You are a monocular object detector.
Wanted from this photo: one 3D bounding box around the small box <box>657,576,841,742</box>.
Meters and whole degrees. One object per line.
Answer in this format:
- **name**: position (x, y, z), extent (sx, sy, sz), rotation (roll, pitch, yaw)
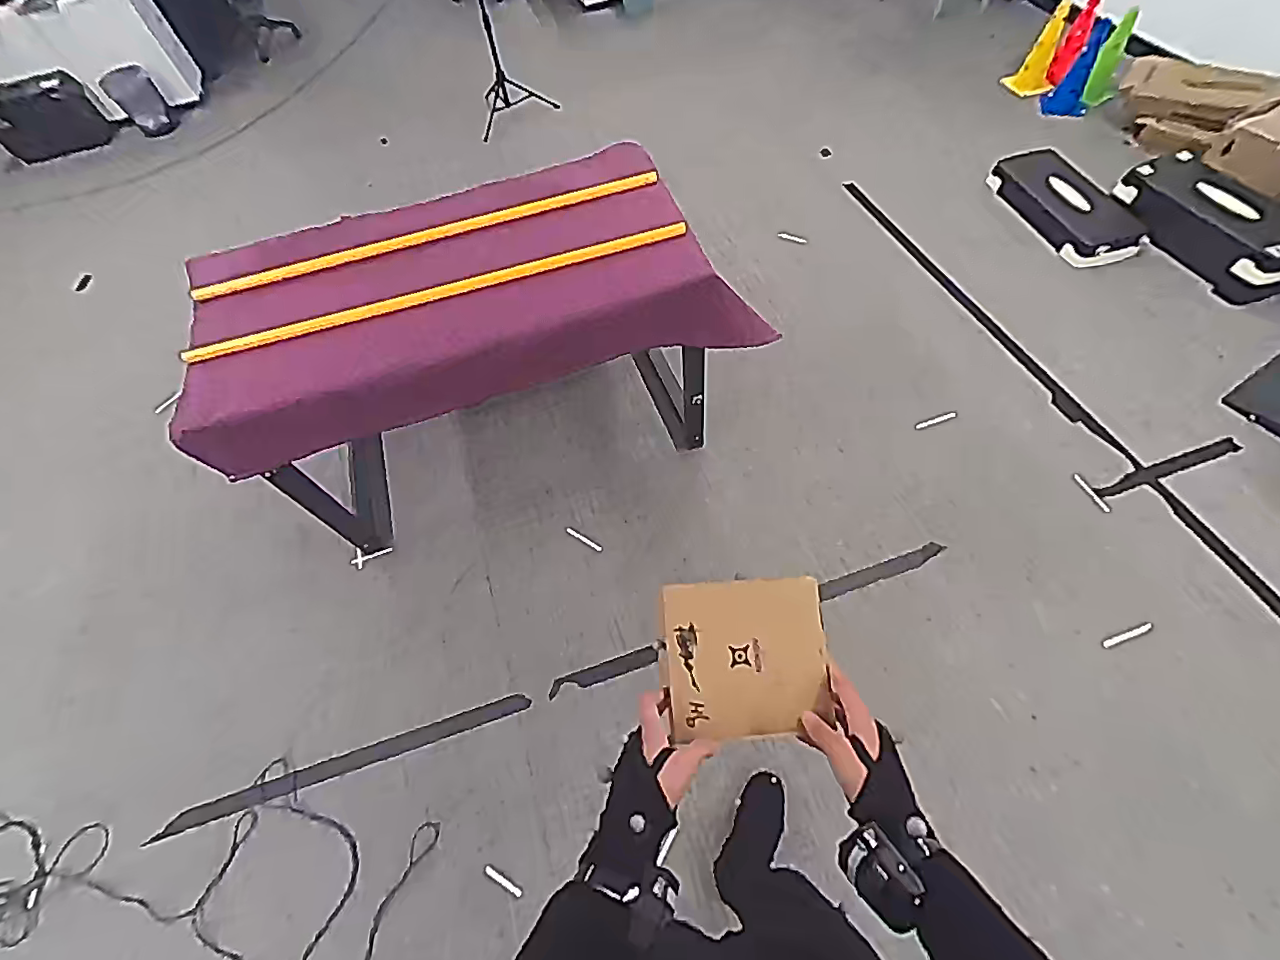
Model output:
- **small box**: position (0.118, 0.205, 0.657), extent (0.179, 0.176, 0.168), rotation (-3, 77, -3)
